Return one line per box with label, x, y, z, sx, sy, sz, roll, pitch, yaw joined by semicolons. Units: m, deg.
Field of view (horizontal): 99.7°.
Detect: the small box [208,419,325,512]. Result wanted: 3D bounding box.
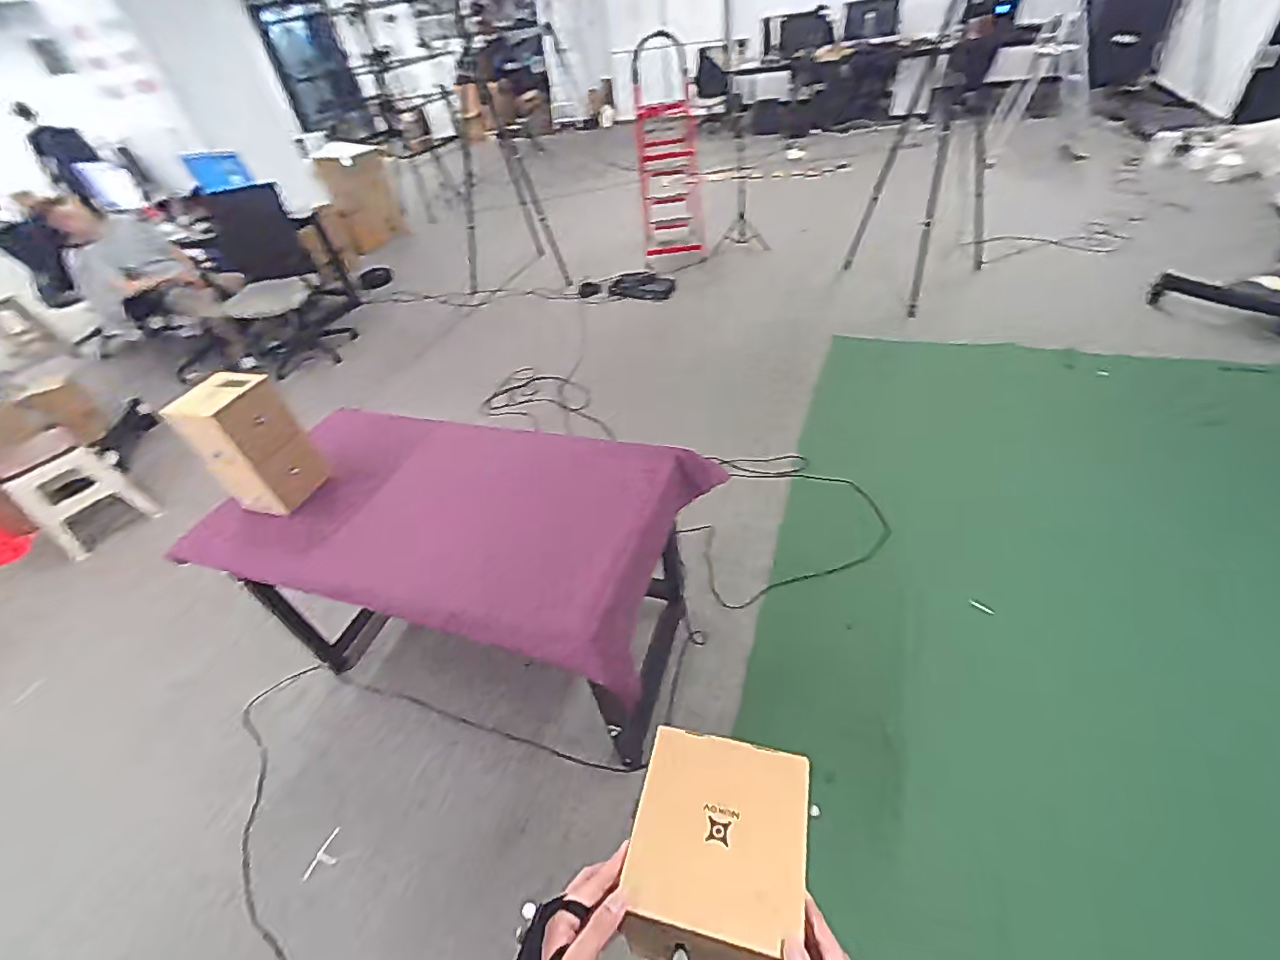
small box;-0.998;-0.041;1.470;0.168;0.176;0.179;7;45;17
